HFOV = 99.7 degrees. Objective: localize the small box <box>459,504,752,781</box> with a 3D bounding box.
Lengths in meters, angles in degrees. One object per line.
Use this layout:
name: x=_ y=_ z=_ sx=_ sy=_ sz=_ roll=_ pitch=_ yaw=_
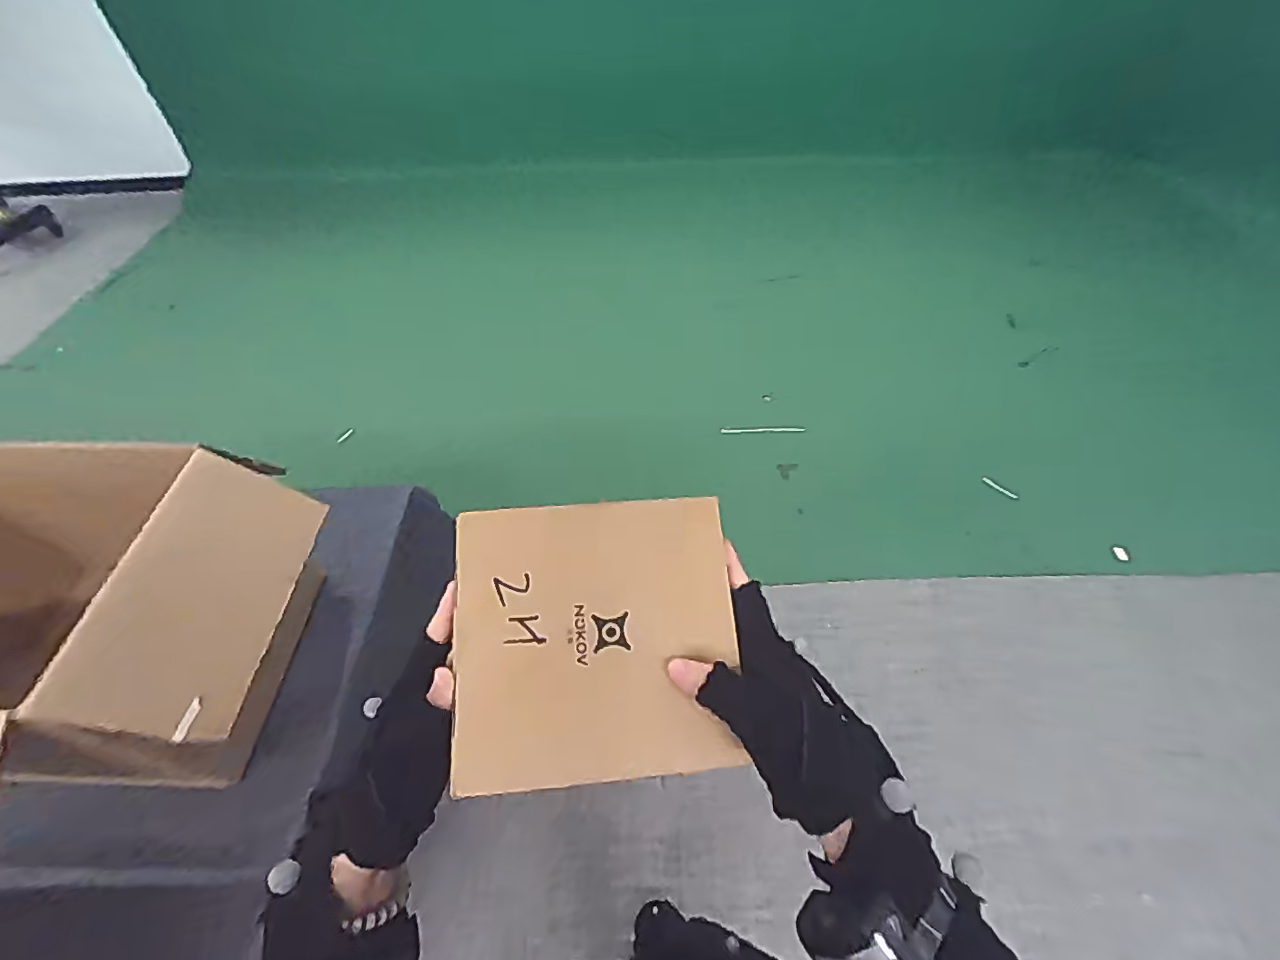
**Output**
small box: x=-0.029 y=0.121 z=0.418 sx=0.179 sy=0.176 sz=0.168 roll=-2 pitch=70 yaw=-6
